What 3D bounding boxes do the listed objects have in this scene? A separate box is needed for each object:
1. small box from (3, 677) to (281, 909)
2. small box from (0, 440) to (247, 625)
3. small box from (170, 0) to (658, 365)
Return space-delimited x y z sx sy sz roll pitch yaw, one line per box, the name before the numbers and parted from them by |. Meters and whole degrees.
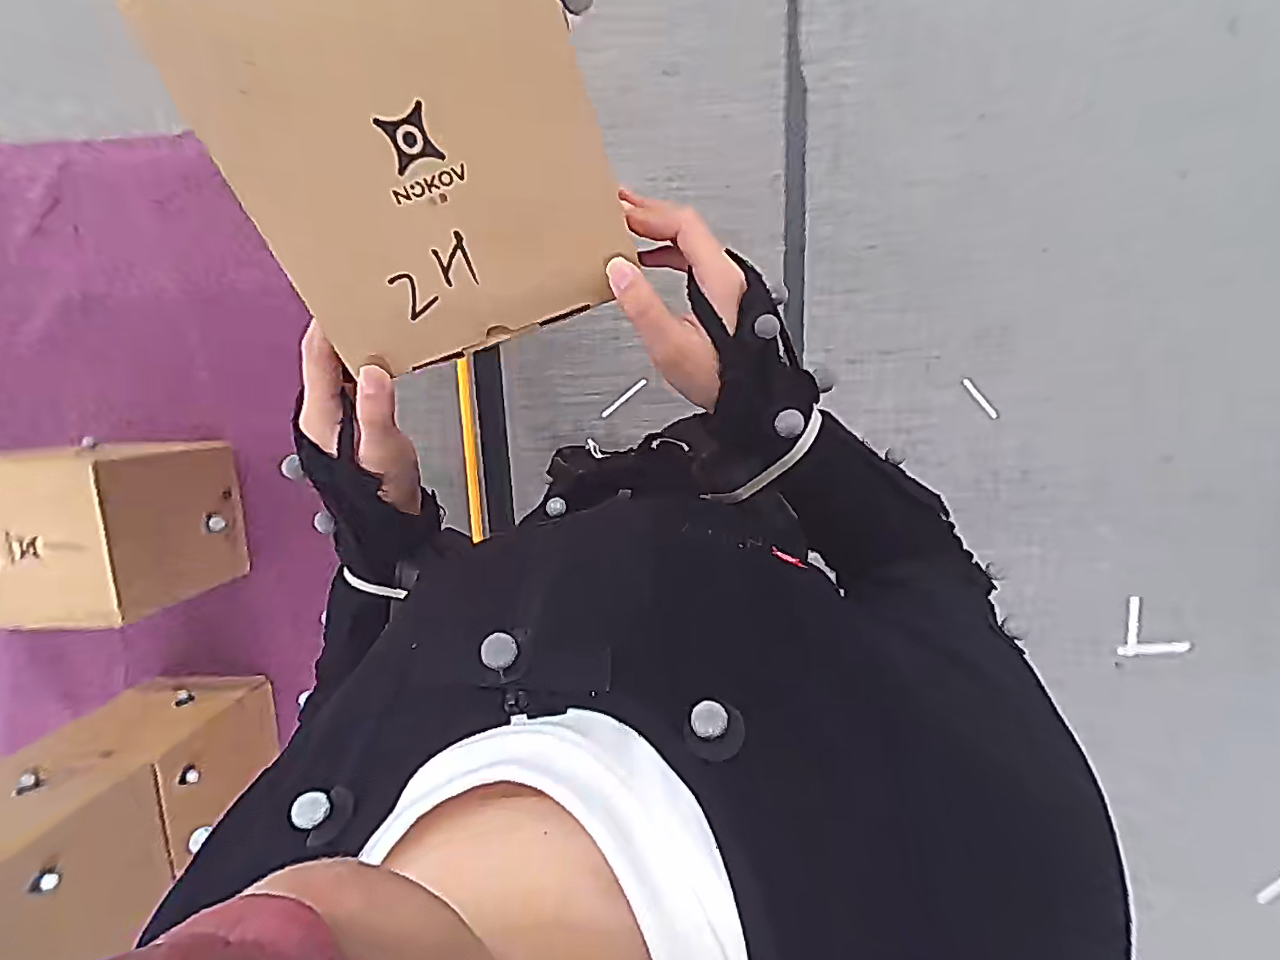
small box | -0.564 0.357 0.641 0.168 0.176 0.179 -2 98 3
small box | -0.582 0.047 0.591 0.179 0.176 0.168 -1 99 2
small box | -0.097 -0.192 0.315 0.168 0.176 0.179 -16 119 4
